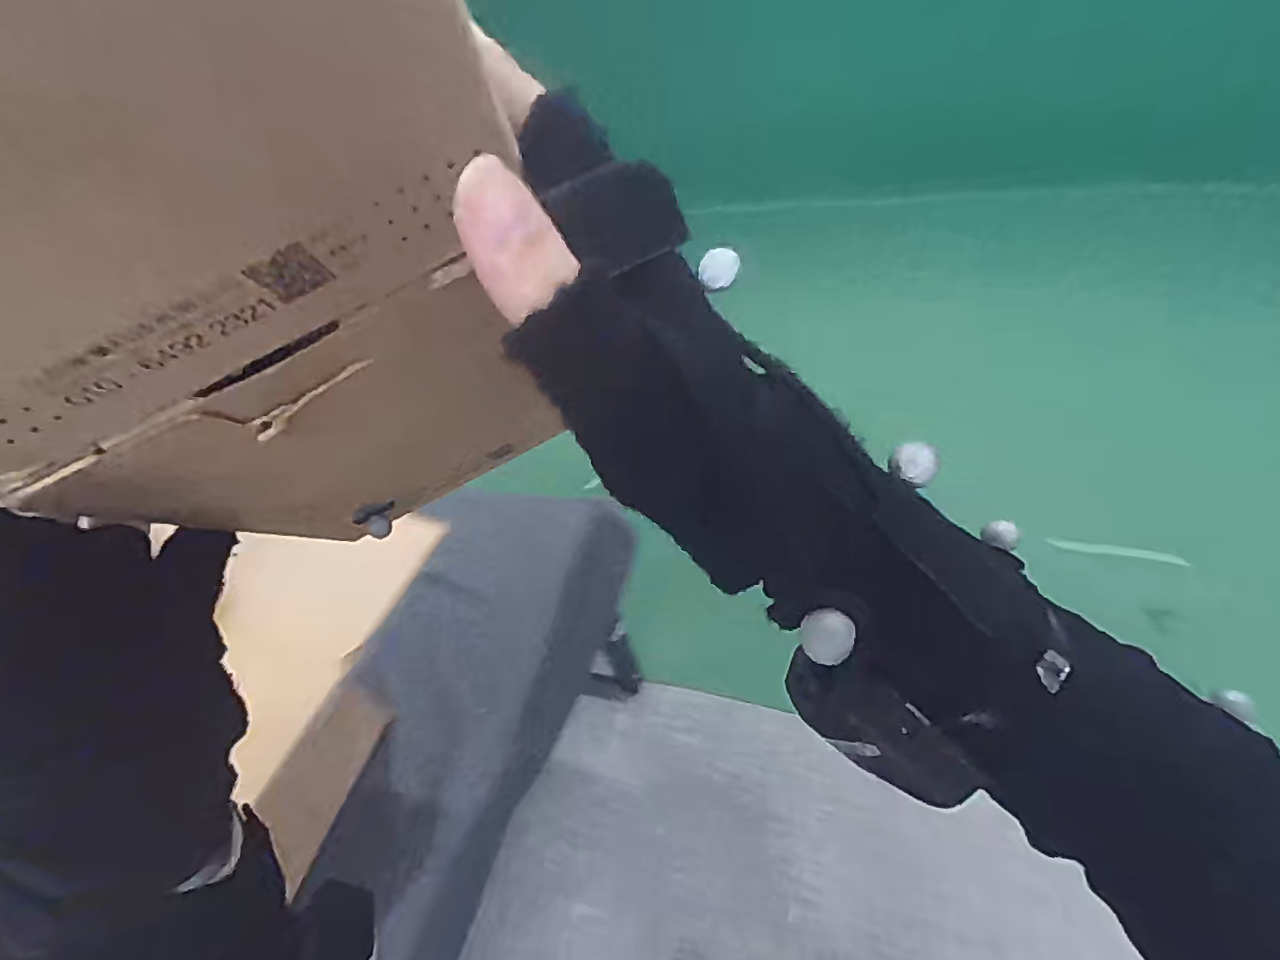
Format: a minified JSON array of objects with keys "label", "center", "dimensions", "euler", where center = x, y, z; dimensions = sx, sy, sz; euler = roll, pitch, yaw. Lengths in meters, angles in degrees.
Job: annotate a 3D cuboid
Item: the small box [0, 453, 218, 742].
[{"label":"small box","center":[-0.526,0.095,0.453],"dimensions":[0.179,0.176,0.168],"euler":[7,49,17]}]
